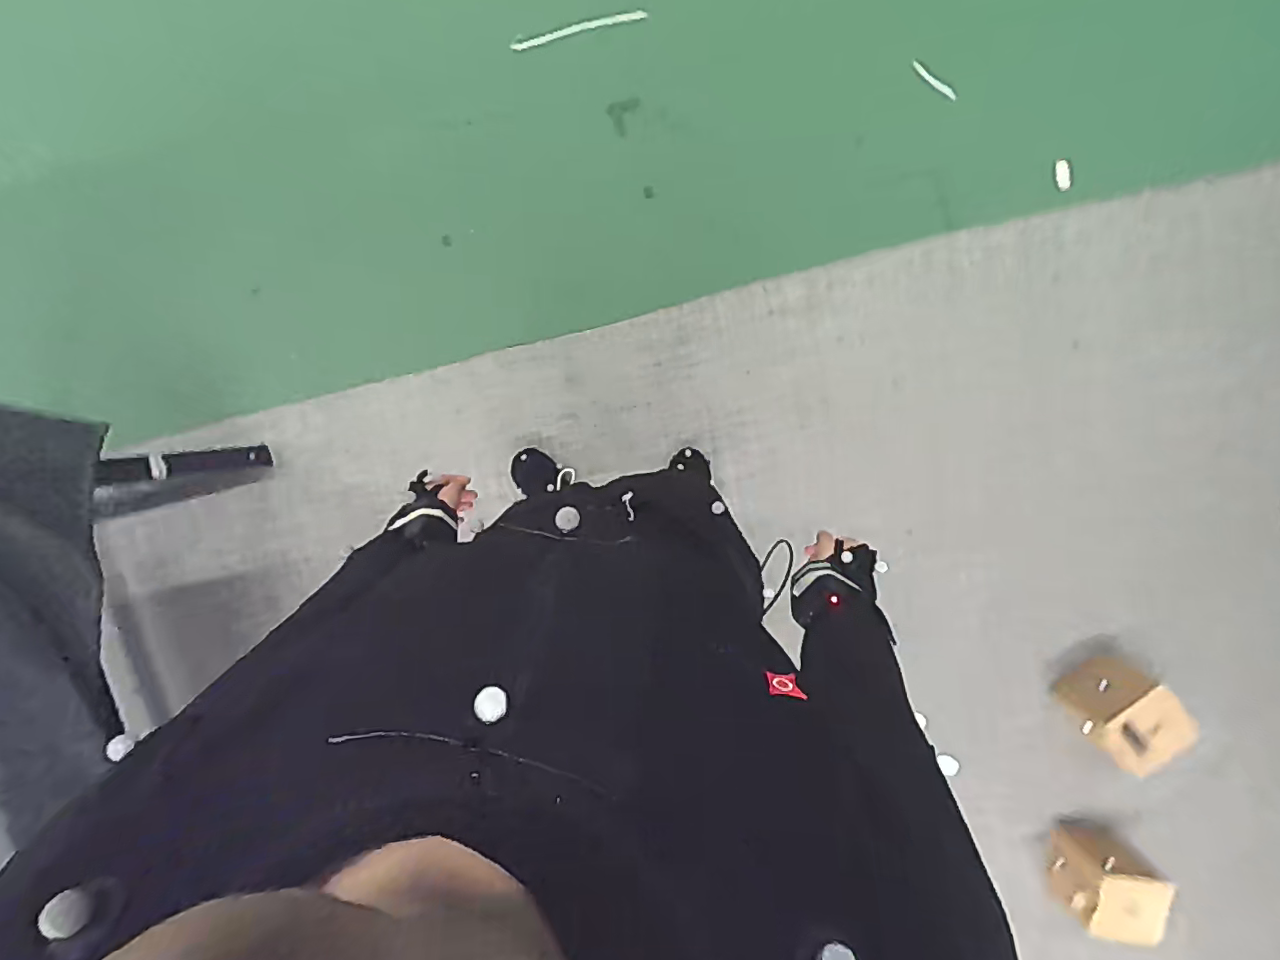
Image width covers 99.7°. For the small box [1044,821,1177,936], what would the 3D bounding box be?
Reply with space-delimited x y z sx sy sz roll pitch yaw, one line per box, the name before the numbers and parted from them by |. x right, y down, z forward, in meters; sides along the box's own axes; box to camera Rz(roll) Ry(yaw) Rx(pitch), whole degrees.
small box | 1.192 1.009 1.383 0.179 0.176 0.168 6 98 1
